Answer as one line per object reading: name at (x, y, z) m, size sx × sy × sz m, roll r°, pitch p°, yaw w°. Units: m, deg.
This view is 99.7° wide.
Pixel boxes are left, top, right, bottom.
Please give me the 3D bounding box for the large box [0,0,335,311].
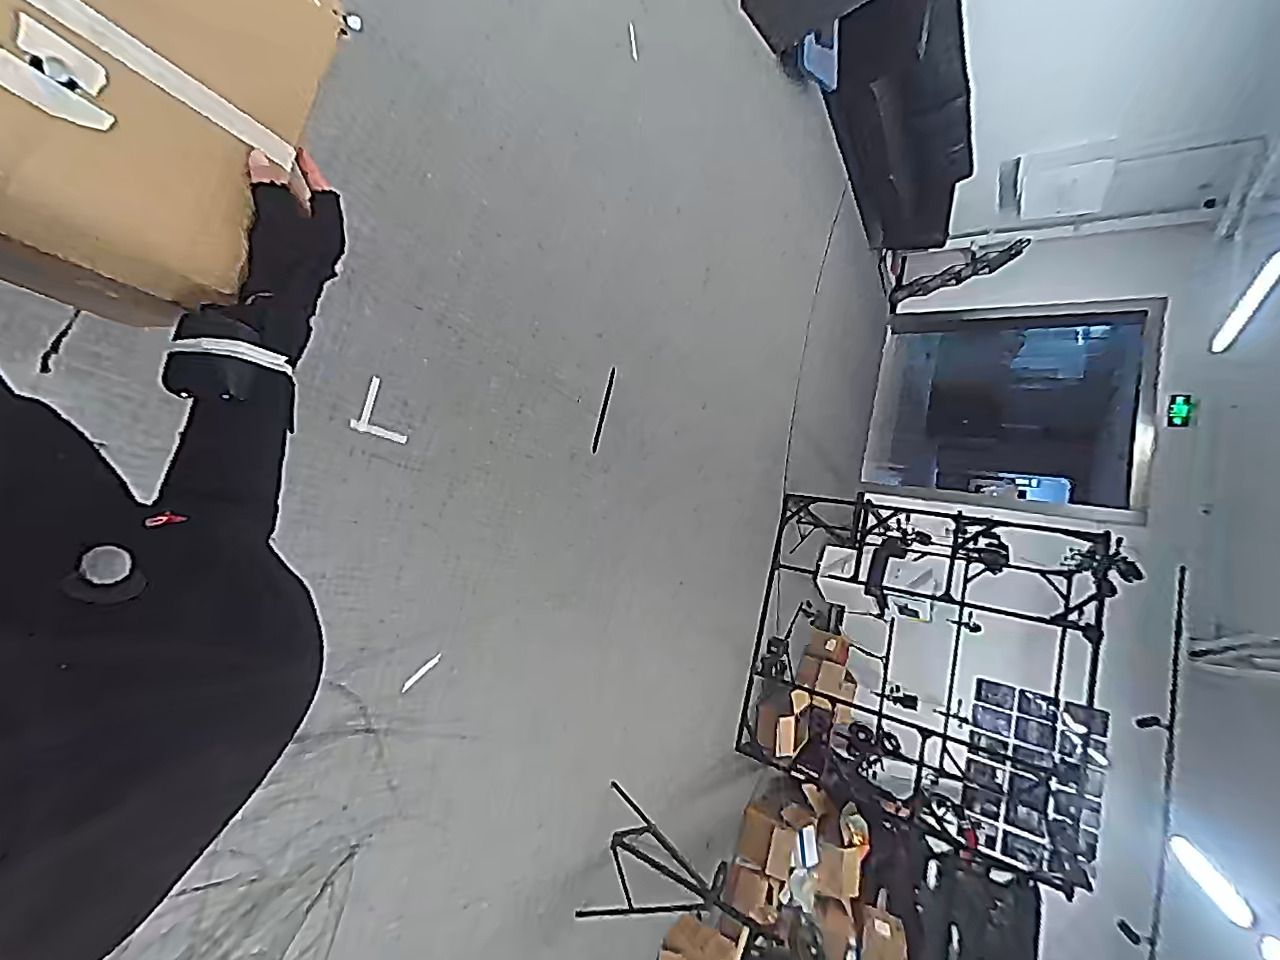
large box at (-0.546, -0.363, 0.409) m, size 0.408 × 0.320 × 0.320 m, roll 24°, pitch 81°, yaw -54°
